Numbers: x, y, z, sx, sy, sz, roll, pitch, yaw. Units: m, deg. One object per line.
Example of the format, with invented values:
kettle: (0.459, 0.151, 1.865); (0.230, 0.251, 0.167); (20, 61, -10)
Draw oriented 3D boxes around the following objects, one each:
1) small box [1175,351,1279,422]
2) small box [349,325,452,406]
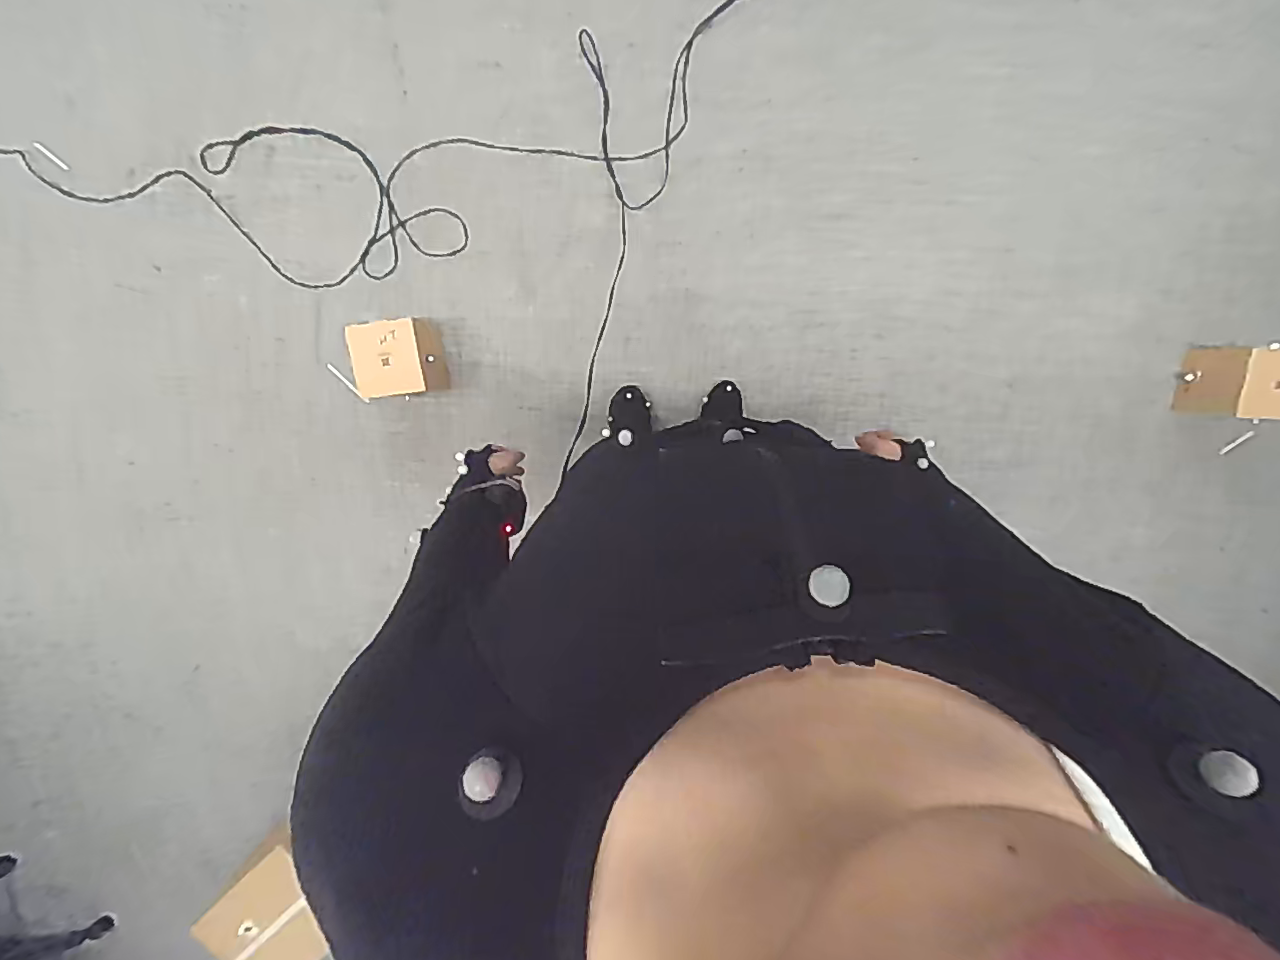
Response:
small box: (1.518, -0.234, 1.352); (0.179, 0.176, 0.168); (2, 100, 2)
small box: (-0.591, -0.286, 1.358); (0.168, 0.176, 0.179); (-7, 100, 2)
